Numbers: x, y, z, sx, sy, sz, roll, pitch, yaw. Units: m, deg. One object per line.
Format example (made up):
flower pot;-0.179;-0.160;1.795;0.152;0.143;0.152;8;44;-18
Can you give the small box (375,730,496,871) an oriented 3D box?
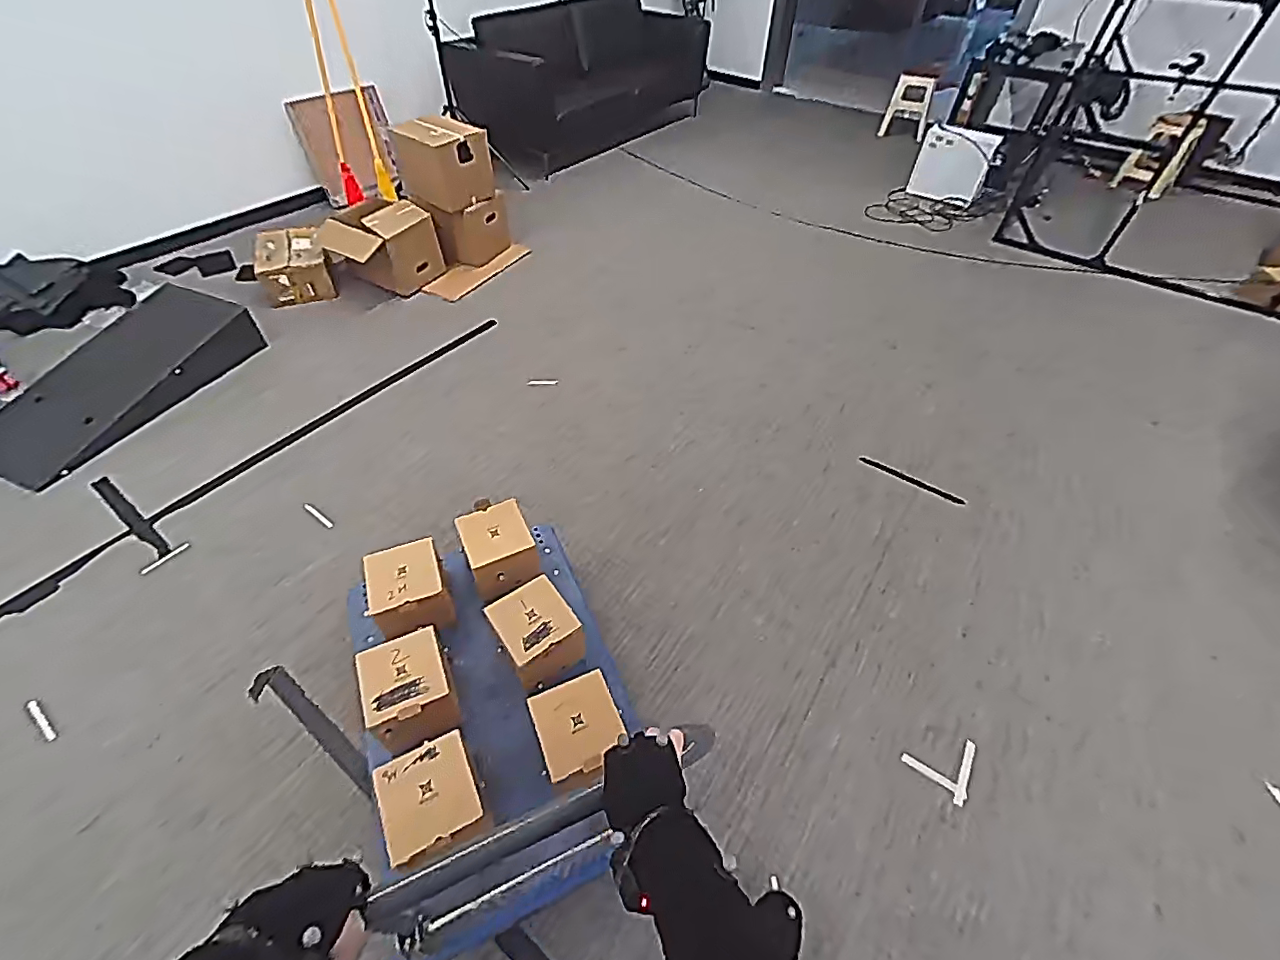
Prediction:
small box;-0.394;0.631;1.058;0.168;0.176;0.179;-20;52;-22

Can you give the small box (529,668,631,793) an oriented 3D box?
small box;-0.127;0.542;1.158;0.168;0.176;0.179;-17;51;-19

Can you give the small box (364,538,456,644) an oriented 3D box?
small box;-0.577;0.281;1.363;0.168;0.176;0.179;-17;52;-17

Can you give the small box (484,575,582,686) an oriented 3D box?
small box;-0.251;0.370;1.305;0.168;0.176;0.179;-28;55;-26

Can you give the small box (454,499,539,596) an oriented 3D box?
small box;-0.383;0.189;1.460;0.168;0.176;0.179;-21;52;-20
